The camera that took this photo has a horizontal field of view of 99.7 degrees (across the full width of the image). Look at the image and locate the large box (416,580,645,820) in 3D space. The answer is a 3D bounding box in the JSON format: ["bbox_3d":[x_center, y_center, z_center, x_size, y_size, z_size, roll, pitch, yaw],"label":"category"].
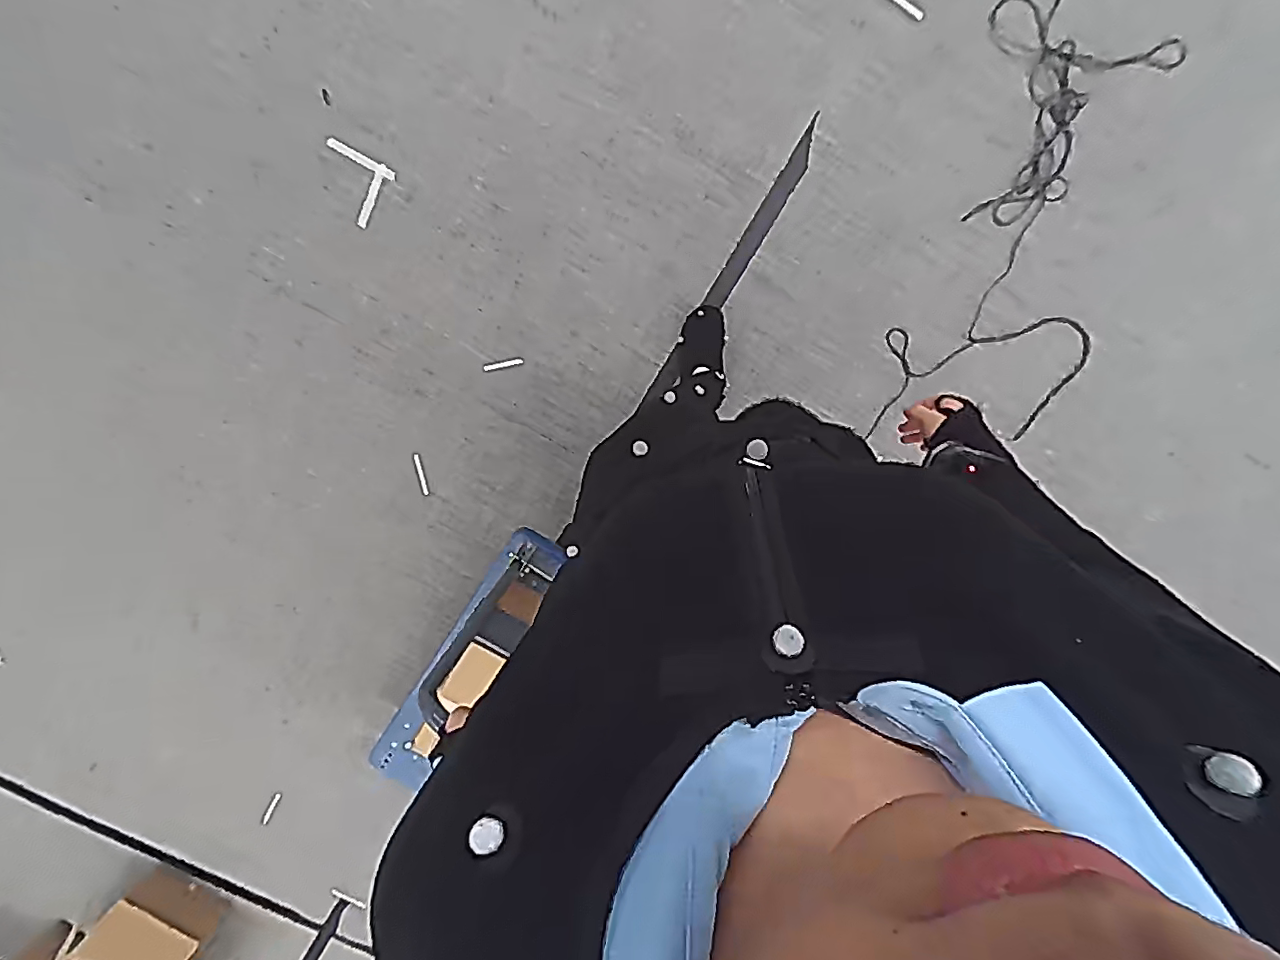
[{"bbox_3d":[-0.238,0.511,1.309,0.408,0.320,0.320,30,103,-4],"label":"large box"}]
